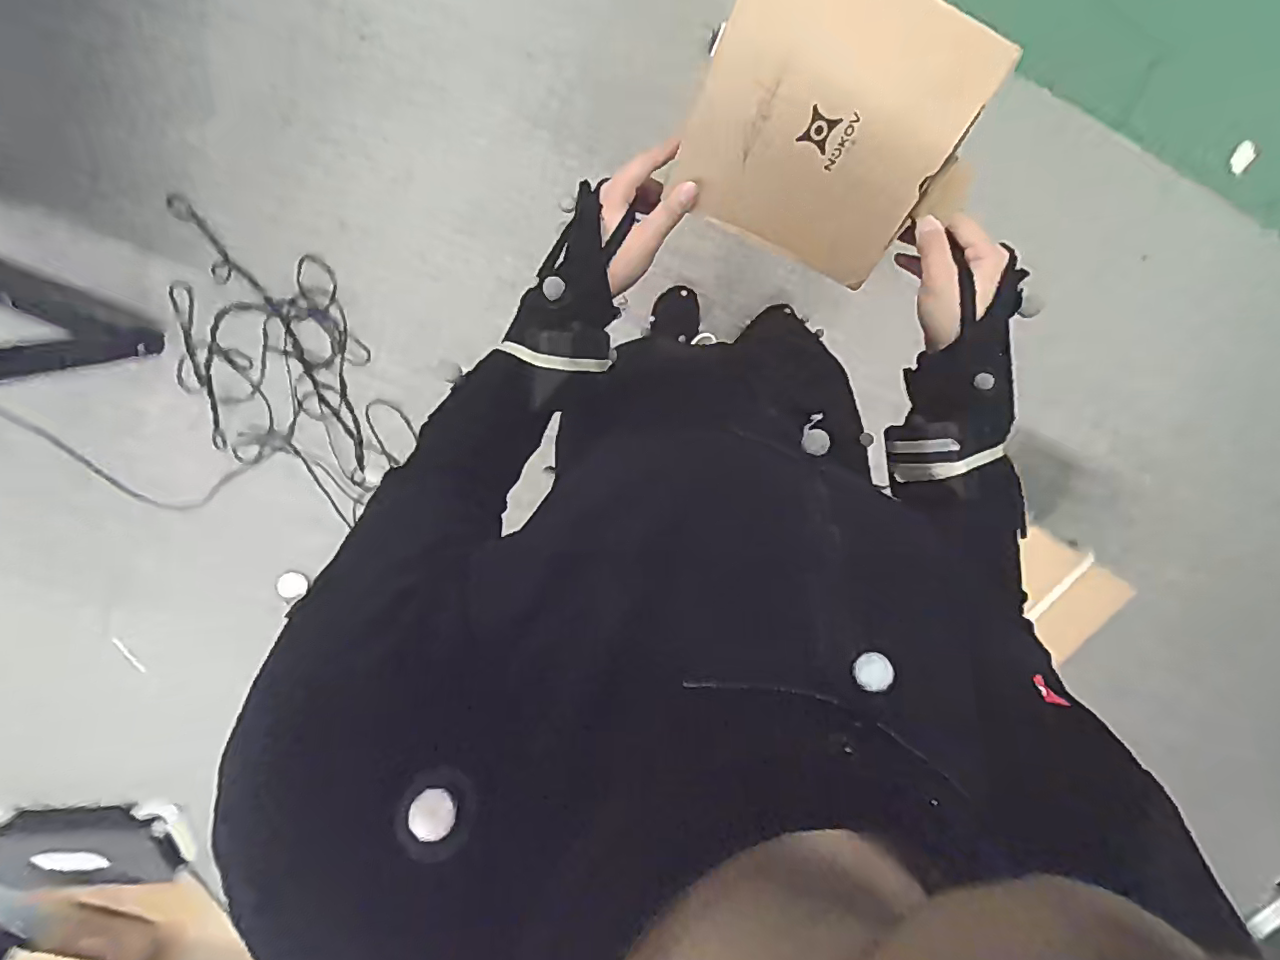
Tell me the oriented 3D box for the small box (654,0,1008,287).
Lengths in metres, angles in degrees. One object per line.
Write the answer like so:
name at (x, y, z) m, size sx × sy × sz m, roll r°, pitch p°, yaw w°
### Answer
small box at (0.125, -0.286, 0.424) m, size 0.179 × 0.176 × 0.168 m, roll 19°, pitch 129°, yaw -8°

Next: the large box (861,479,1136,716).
large box at (0.832, 0.274, 1.321) m, size 0.320 × 0.320 × 0.408 m, roll 29°, pitch 109°, yaw -10°
